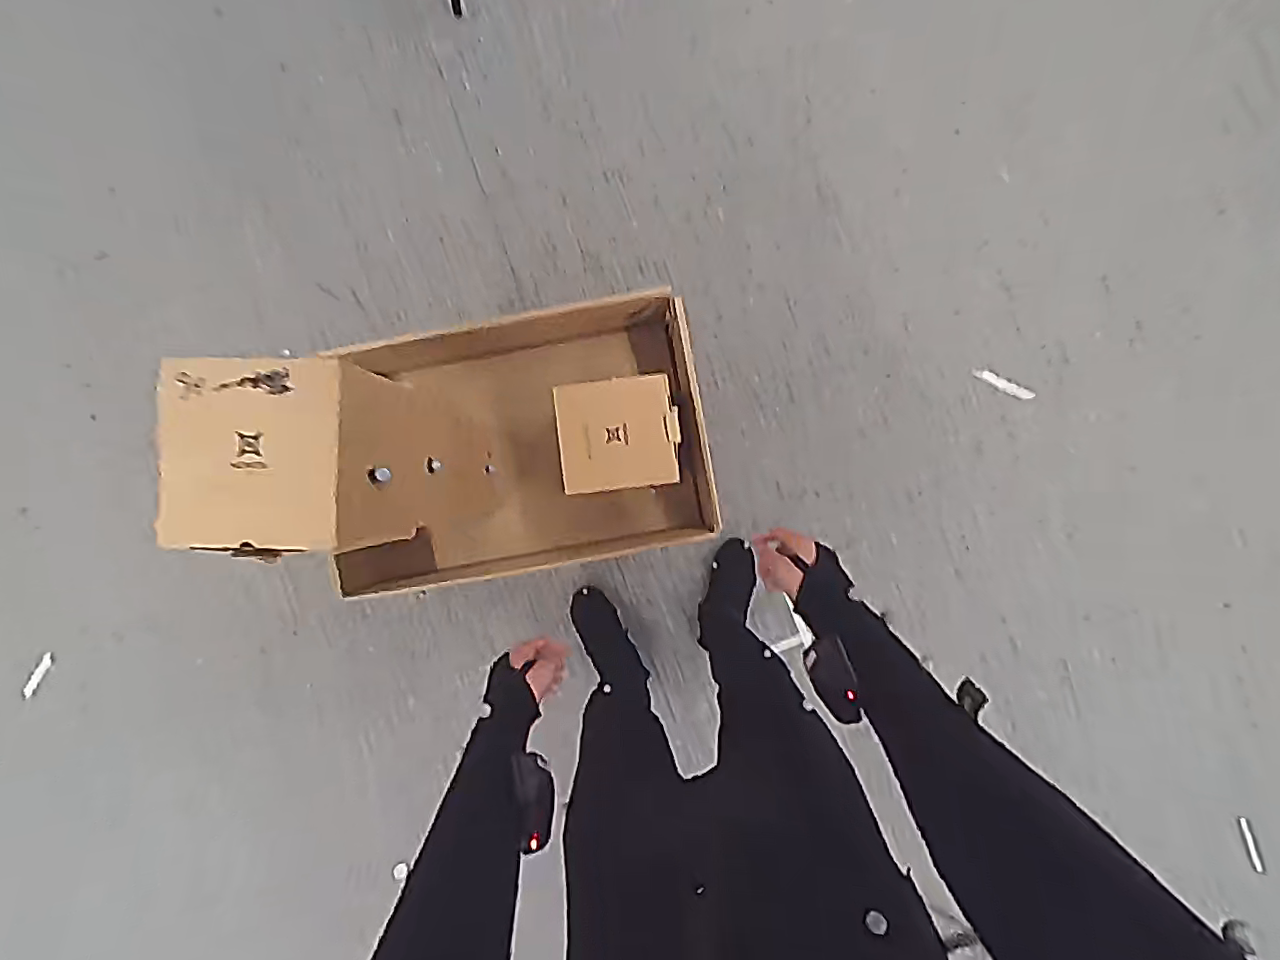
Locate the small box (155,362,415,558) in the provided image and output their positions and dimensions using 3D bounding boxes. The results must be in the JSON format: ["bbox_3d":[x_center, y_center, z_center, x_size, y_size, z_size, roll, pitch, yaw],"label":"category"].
[{"bbox_3d":[-0.350,-0.019,0.565,0.168,0.176,0.179,1,90,1],"label":"small box"}]
